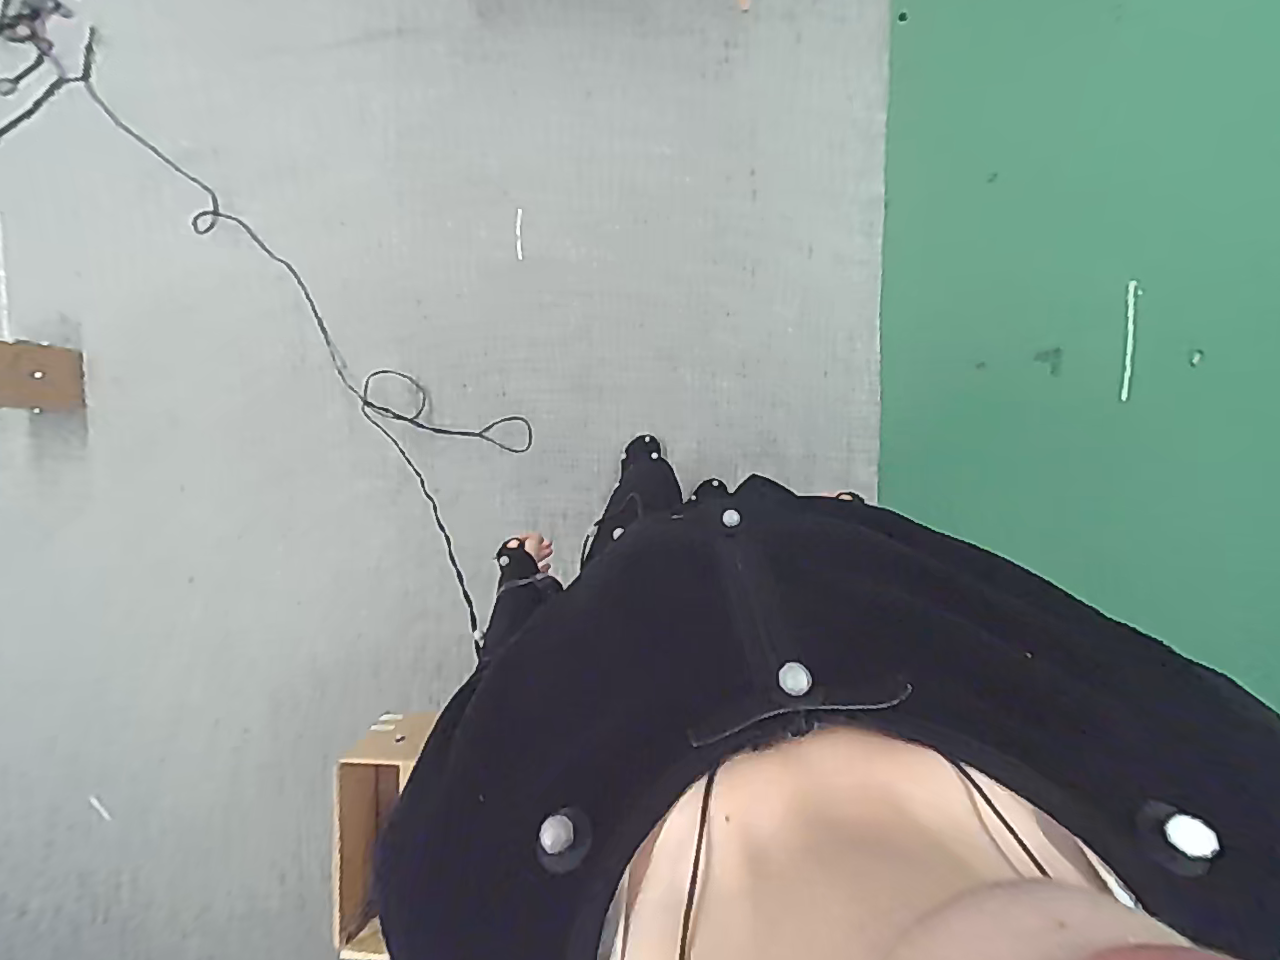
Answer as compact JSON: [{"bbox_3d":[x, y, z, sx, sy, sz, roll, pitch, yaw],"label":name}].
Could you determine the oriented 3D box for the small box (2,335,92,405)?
[{"bbox_3d":[-1.692,-0.301,1.509,0.168,0.176,0.179,0,92,3],"label":"small box"}]

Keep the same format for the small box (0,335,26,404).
[{"bbox_3d":[-1.700,-0.283,1.346,0.168,0.176,0.179,0,93,2],"label":"small box"}]
